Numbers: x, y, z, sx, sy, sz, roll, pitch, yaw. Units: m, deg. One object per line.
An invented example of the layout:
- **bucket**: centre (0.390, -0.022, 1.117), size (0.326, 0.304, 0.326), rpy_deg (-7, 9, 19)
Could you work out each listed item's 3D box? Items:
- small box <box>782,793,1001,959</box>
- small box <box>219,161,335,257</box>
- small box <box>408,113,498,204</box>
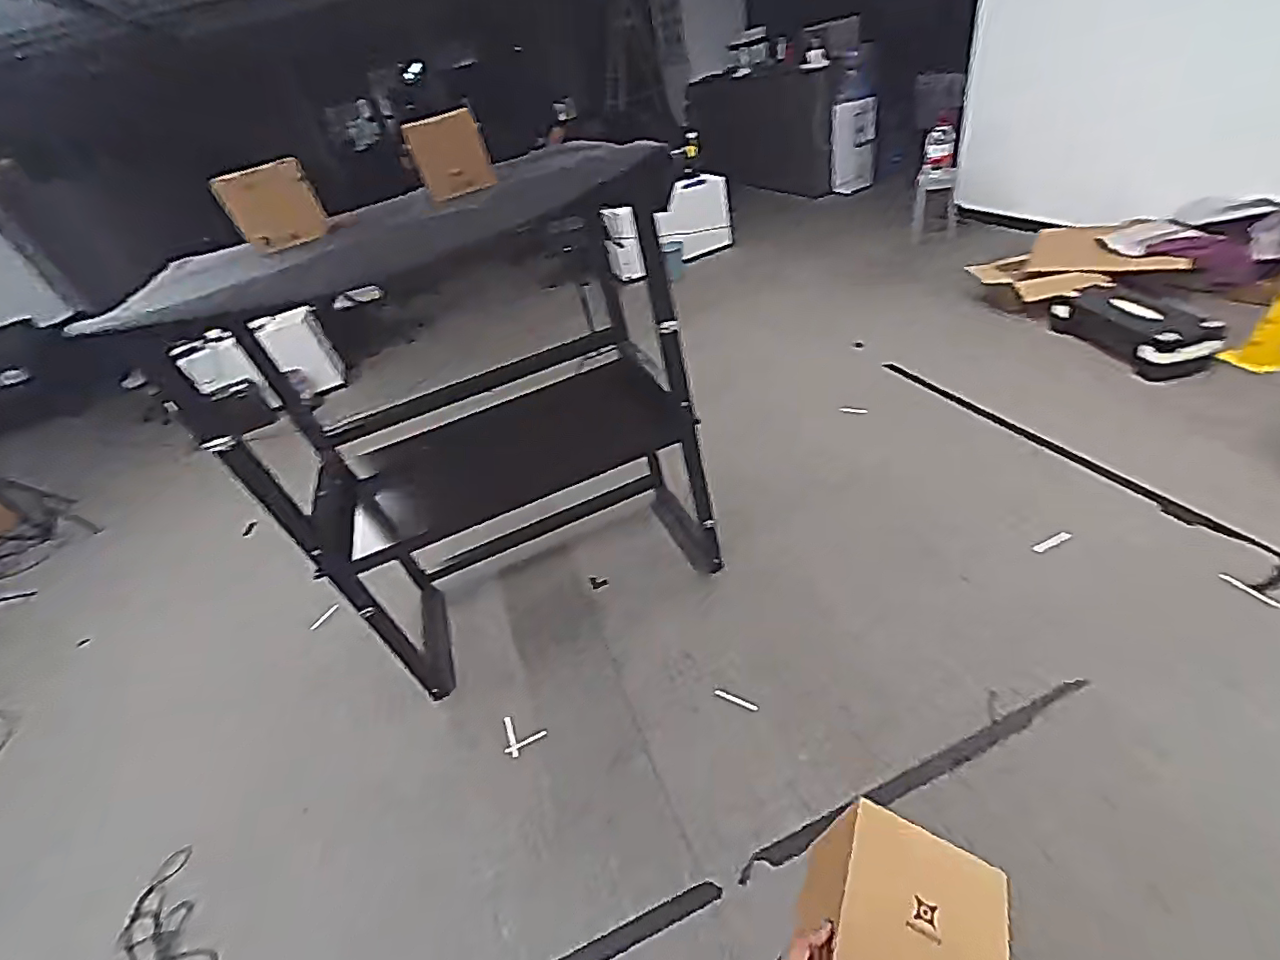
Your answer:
- **small box**: centre (0.272, 0.503, 0.605), size (0.168, 0.176, 0.179), rpy_deg (21, 42, 15)
- **small box**: centre (-0.892, -0.674, 1.350), size (0.168, 0.176, 0.179), rpy_deg (-22, 38, -9)
- **small box**: centre (-0.482, -0.834, 1.405), size (0.168, 0.176, 0.179), rpy_deg (-22, 38, -7)
